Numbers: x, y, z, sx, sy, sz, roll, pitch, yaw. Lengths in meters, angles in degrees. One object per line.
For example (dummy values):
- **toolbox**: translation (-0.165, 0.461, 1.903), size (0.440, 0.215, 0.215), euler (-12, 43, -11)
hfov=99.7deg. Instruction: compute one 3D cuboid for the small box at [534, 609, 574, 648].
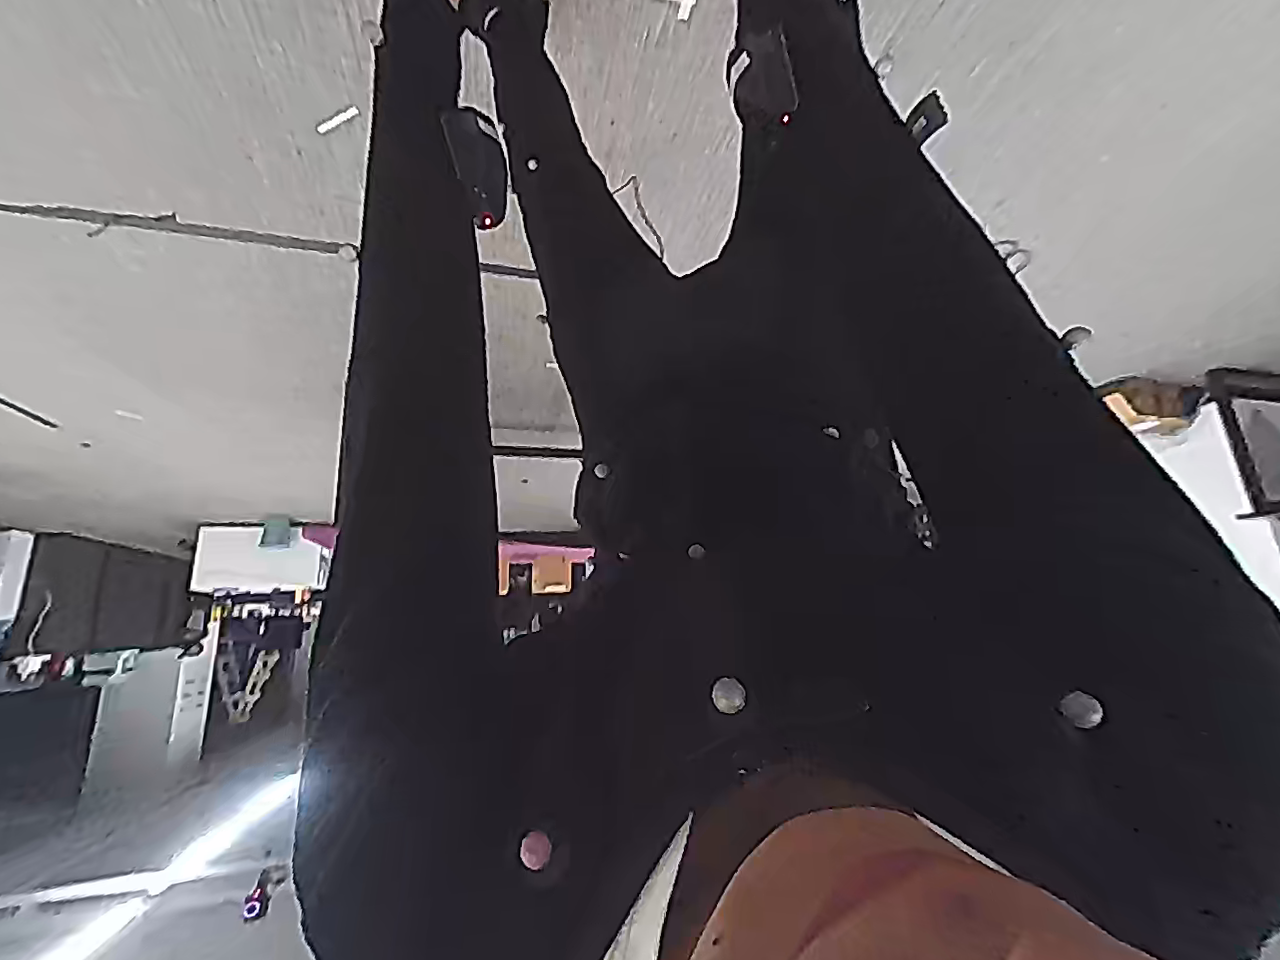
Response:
- **small box**: translation (-0.433, 0.742, 2.700), size (0.168, 0.176, 0.179), euler (6, 157, -21)
